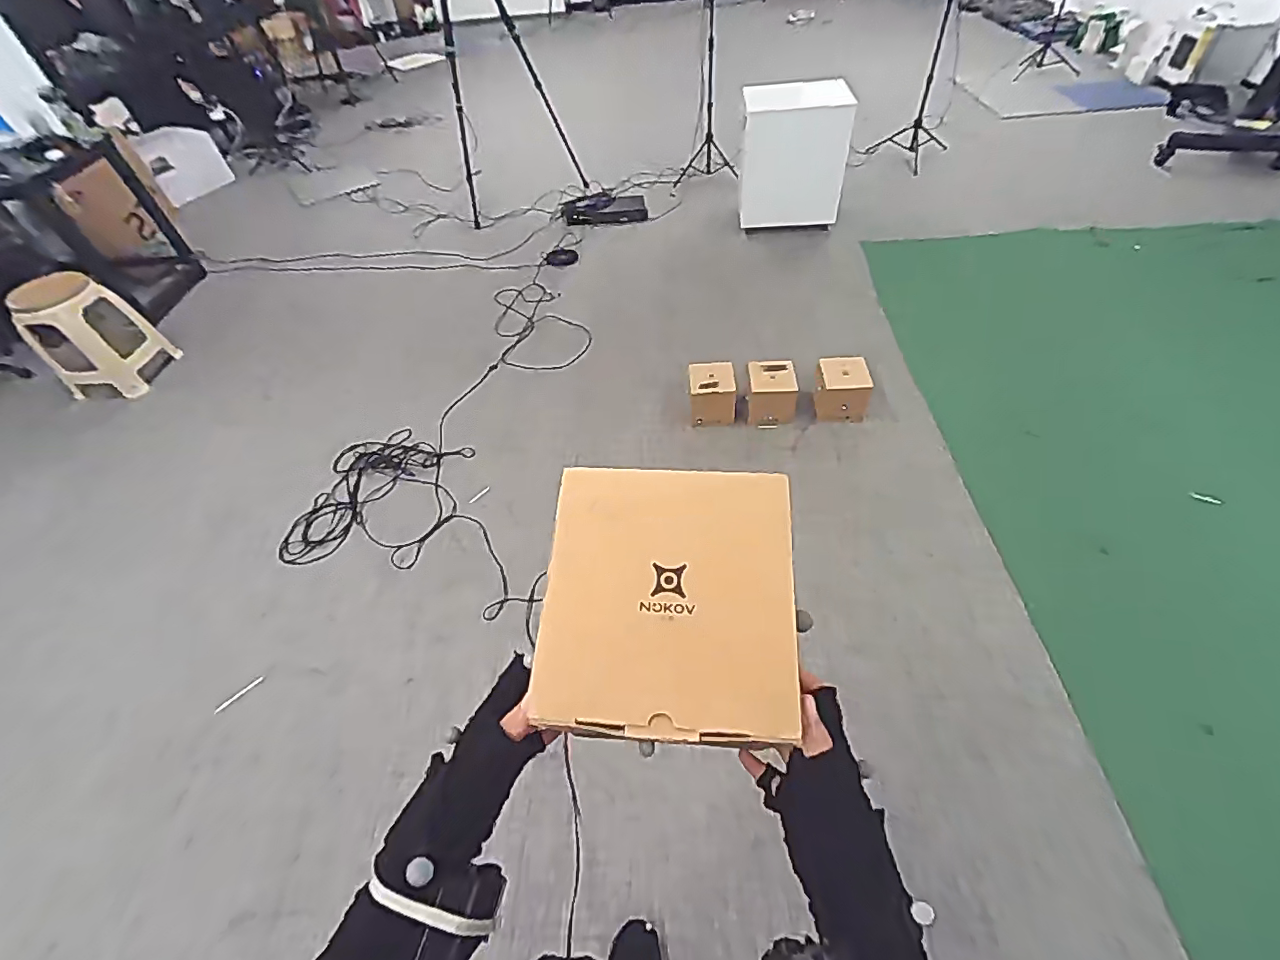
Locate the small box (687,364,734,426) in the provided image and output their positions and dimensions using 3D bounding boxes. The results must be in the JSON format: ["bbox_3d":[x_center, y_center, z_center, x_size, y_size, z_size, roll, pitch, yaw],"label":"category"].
[{"bbox_3d":[0.269,-0.319,2.065,0.168,0.176,0.179,-3,48,5],"label":"small box"}]

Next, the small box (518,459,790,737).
[{"bbox_3d":[0.017,0.100,0.428,0.168,0.176,0.179,1,64,5],"label":"small box"}]

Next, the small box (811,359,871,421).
[{"bbox_3d":[0.748,-0.332,2.028,0.168,0.176,0.179,-1,49,4],"label":"small box"}]
